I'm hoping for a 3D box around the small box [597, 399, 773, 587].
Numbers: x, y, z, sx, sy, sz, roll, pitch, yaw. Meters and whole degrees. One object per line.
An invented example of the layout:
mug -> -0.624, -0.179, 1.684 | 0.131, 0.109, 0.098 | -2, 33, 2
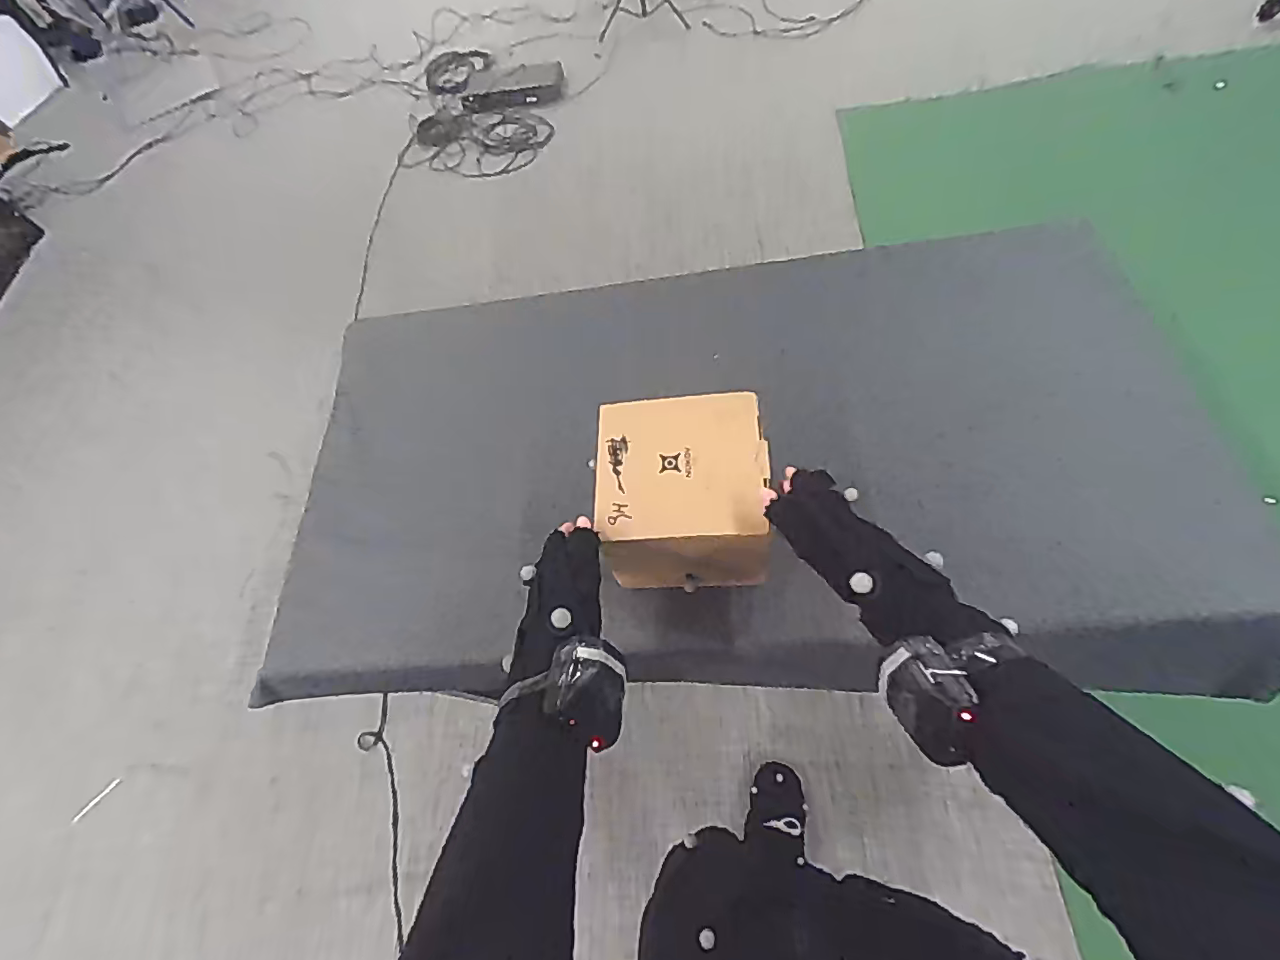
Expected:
small box -> 0.055, 0.024, 0.638 | 0.179, 0.176, 0.168 | -3, 62, 8
